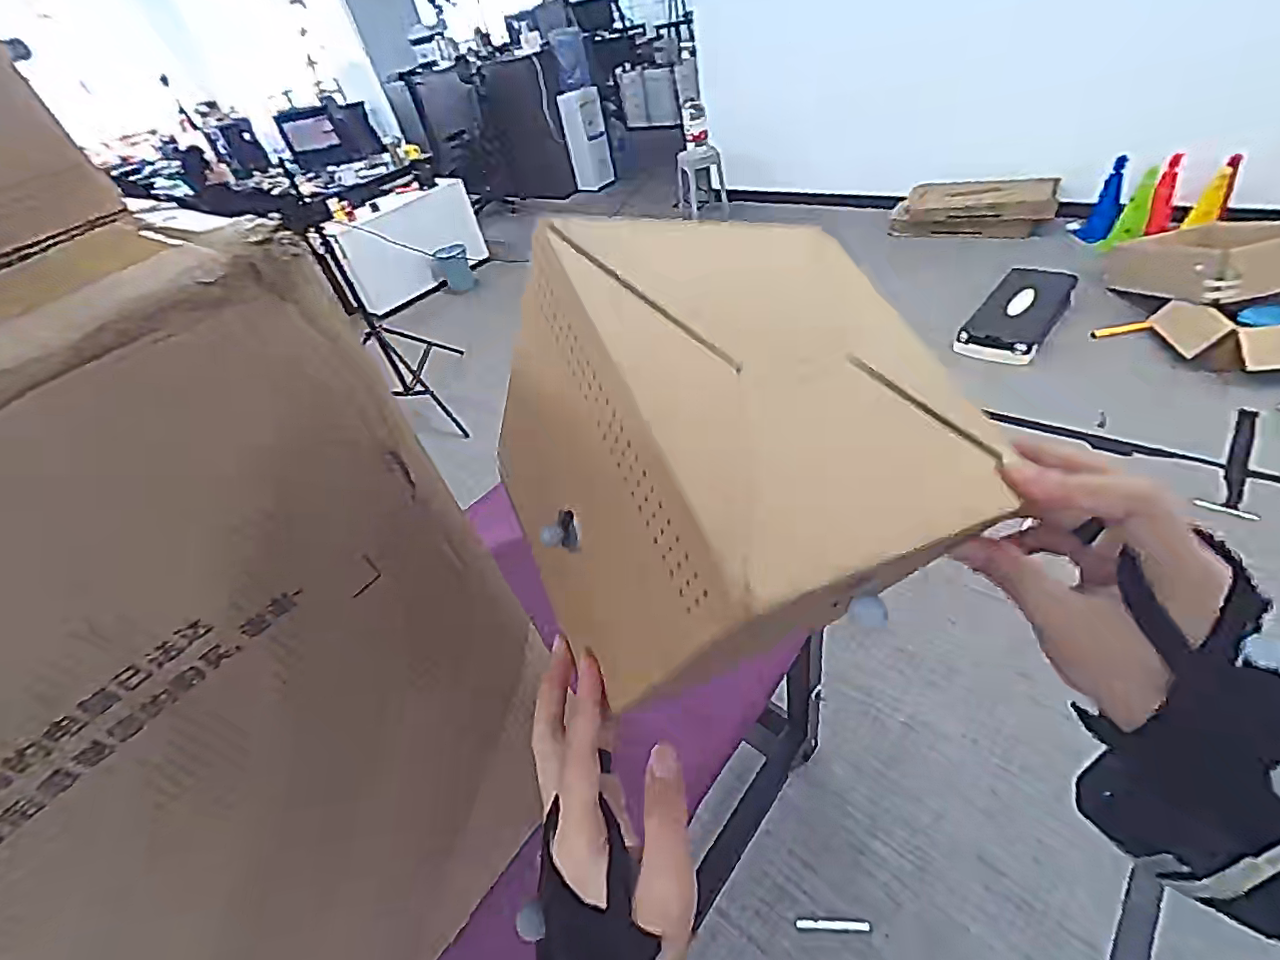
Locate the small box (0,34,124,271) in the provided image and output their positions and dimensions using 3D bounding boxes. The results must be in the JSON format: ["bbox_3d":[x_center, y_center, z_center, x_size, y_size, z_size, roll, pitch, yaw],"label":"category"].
[{"bbox_3d":[-0.468,-0.216,0.326,0.168,0.176,0.179,28,58,37],"label":"small box"}]

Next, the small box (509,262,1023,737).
[{"bbox_3d":[0.044,0.004,0.289,0.168,0.176,0.179,-12,62,-28],"label":"small box"}]
